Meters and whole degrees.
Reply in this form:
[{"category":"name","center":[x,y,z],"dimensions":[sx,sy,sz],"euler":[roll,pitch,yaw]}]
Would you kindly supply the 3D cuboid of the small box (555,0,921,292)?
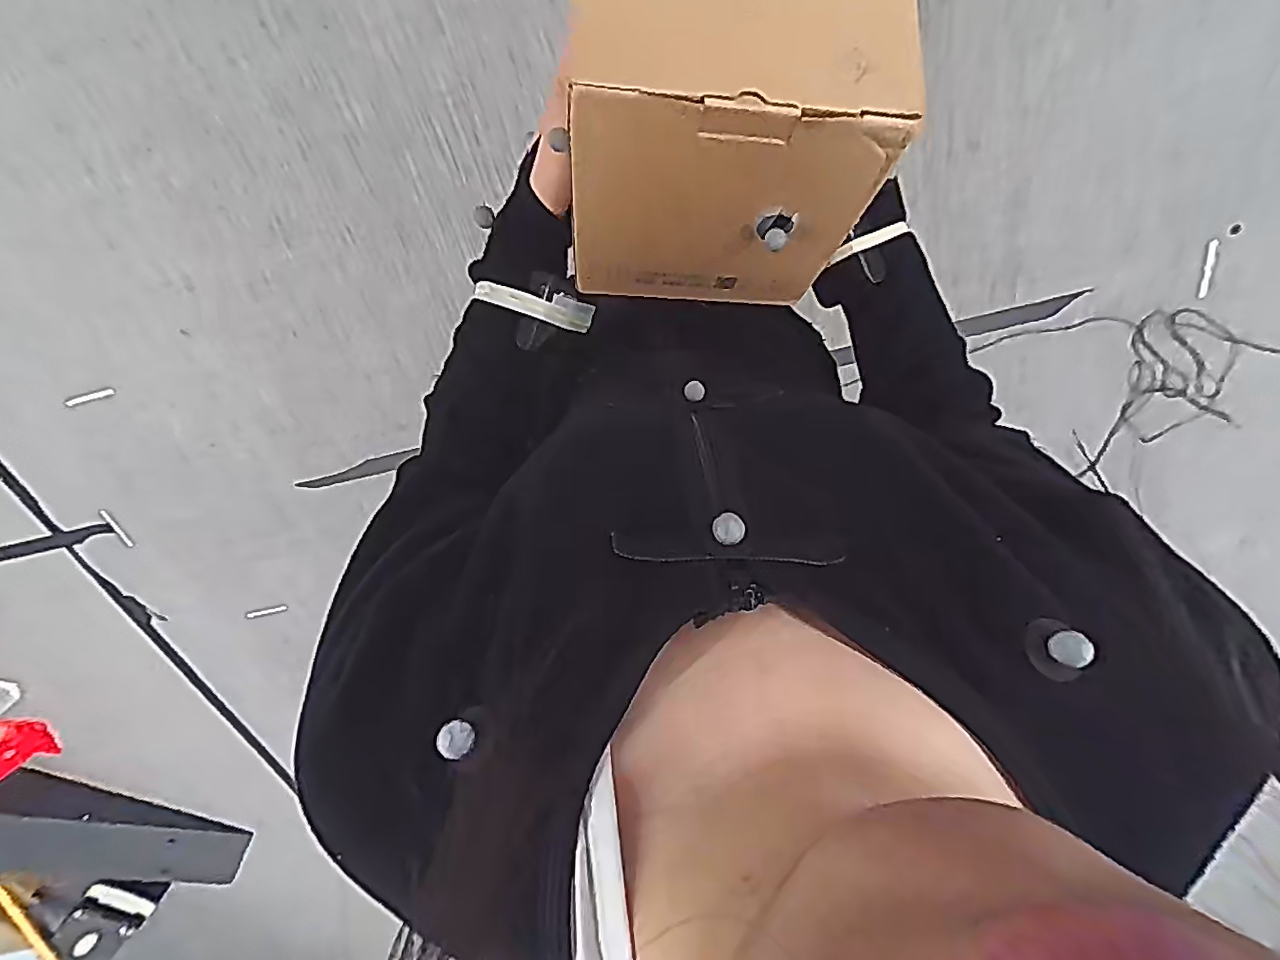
[{"category":"small box","center":[0.040,-0.237,0.331],"dimensions":[0.168,0.176,0.179],"euler":[2,77,-5]}]
